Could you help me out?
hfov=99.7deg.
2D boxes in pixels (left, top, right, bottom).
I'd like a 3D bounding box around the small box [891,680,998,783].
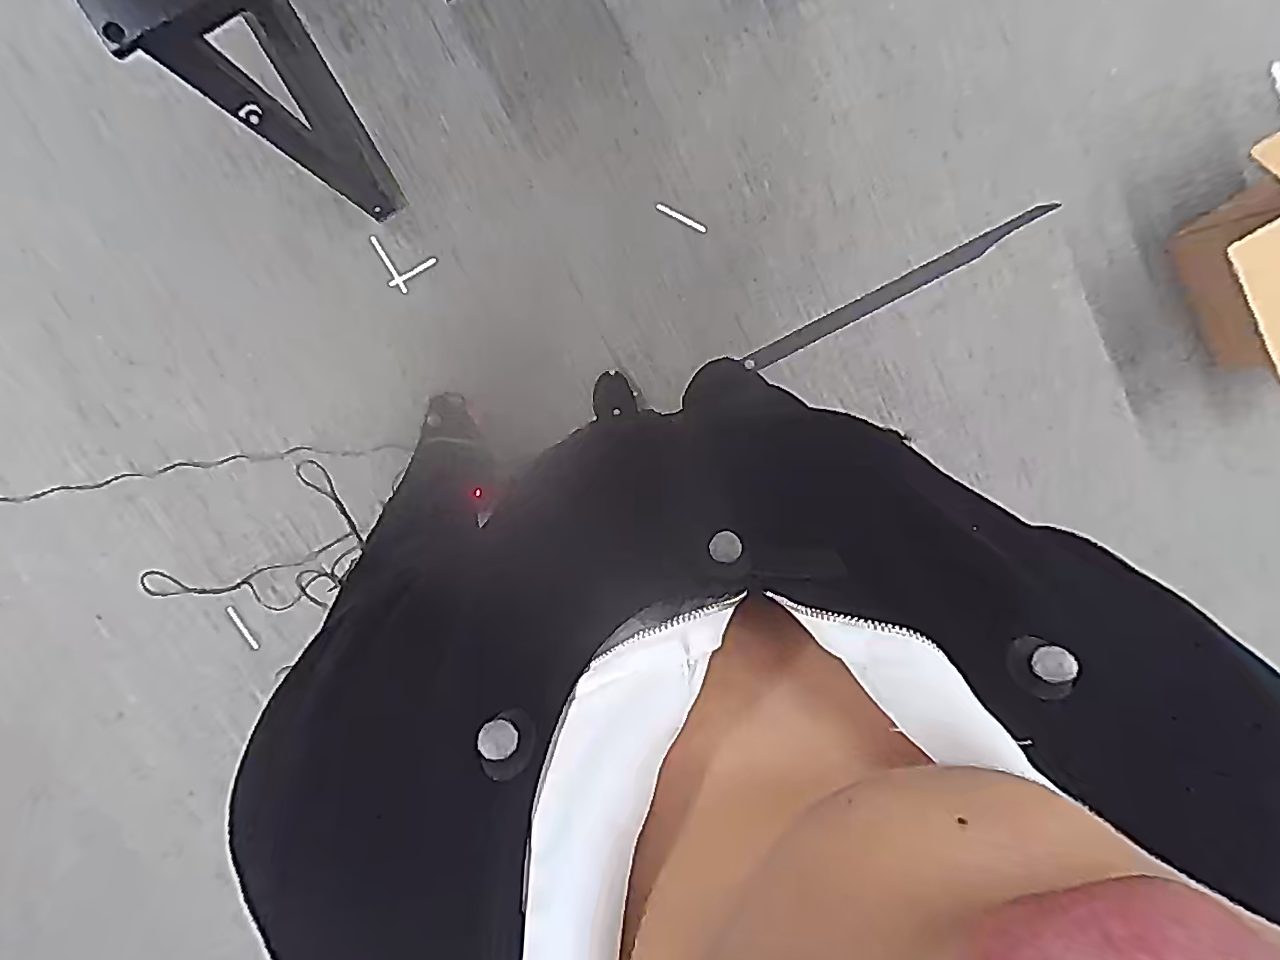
[{"bbox_3d":[0.850,0.697,1.522,0.179,0.176,0.168,-27,97,3],"label":"small box"}]
